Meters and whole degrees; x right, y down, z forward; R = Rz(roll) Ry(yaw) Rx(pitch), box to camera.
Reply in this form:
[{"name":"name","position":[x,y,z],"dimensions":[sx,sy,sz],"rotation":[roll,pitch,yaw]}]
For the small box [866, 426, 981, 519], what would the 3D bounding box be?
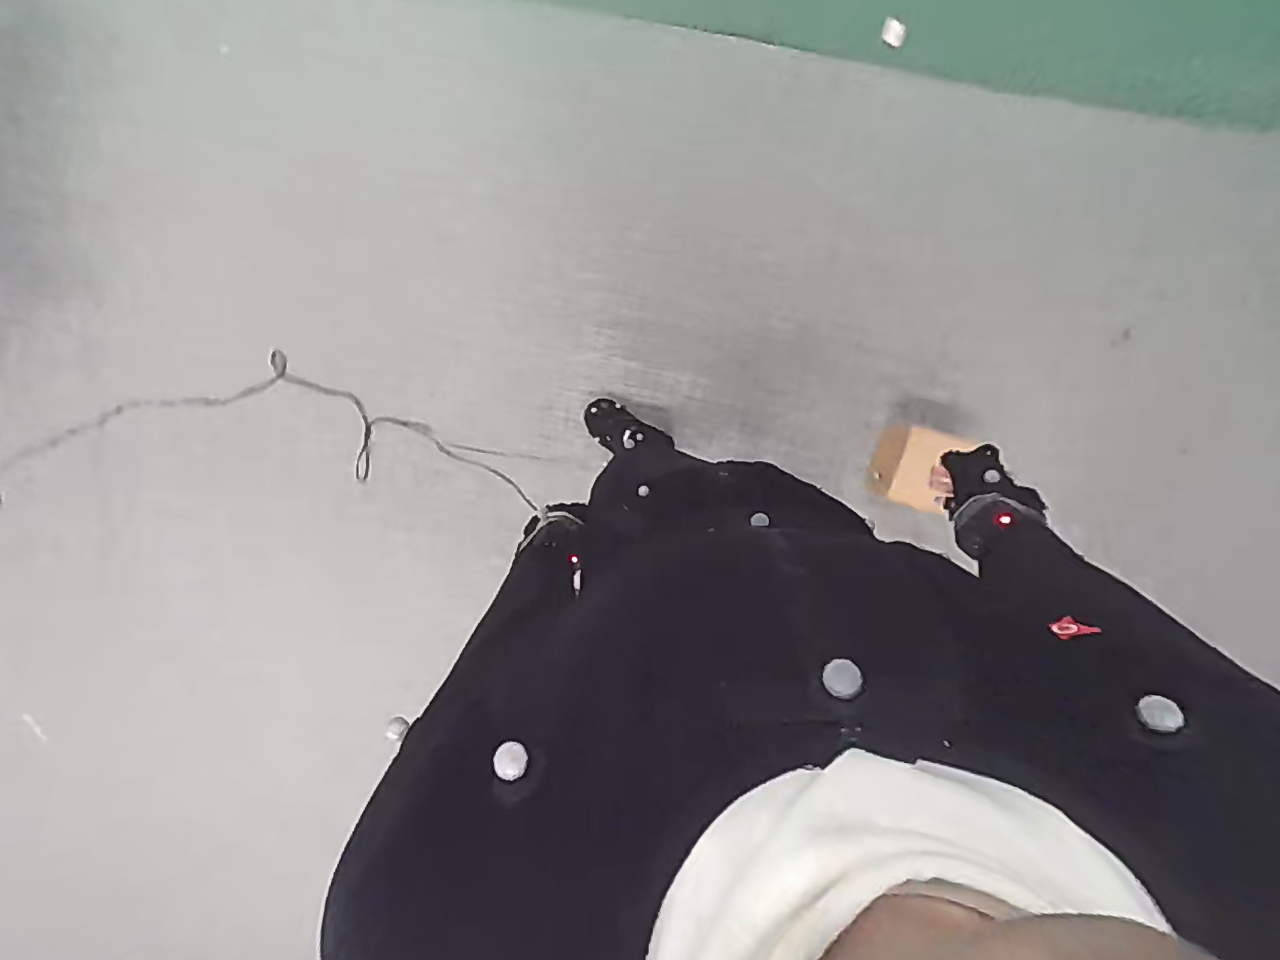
[{"name":"small box","position":[0.667,-0.024,1.298],"dimensions":[0.168,0.176,0.179],"rotation":[16,98,1]}]
